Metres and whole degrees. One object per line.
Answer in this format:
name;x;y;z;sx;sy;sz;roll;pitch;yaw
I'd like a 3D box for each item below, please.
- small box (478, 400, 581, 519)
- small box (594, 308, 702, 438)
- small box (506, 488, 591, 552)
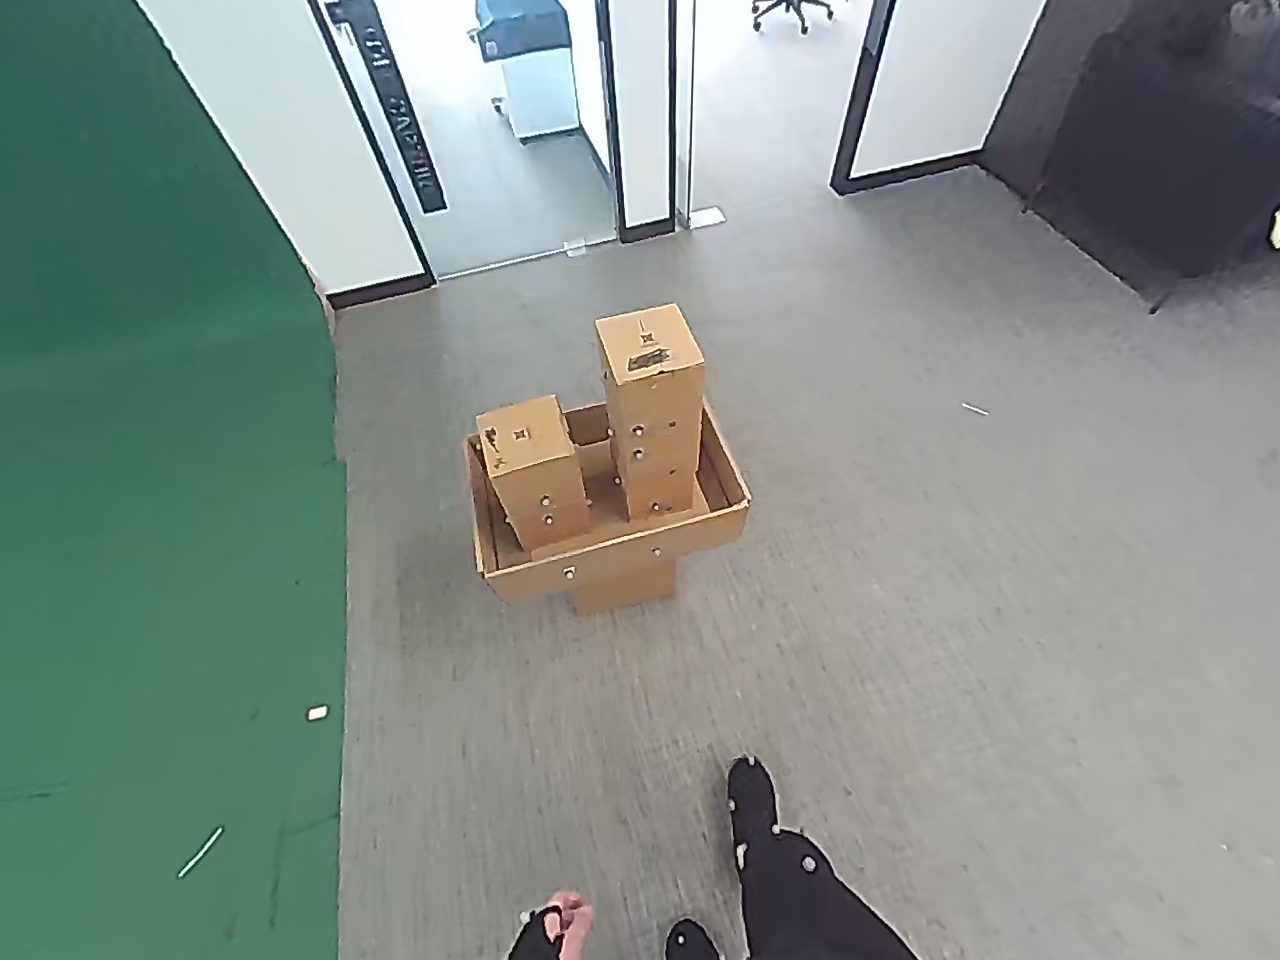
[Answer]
small box;-0.230;-0.040;1.156;0.179;0.176;0.168;-16;57;-9
small box;0.016;-0.201;1.055;0.168;0.176;0.179;-14;55;-7
small box;-0.225;0.052;1.293;0.179;0.176;0.168;-14;56;-8
